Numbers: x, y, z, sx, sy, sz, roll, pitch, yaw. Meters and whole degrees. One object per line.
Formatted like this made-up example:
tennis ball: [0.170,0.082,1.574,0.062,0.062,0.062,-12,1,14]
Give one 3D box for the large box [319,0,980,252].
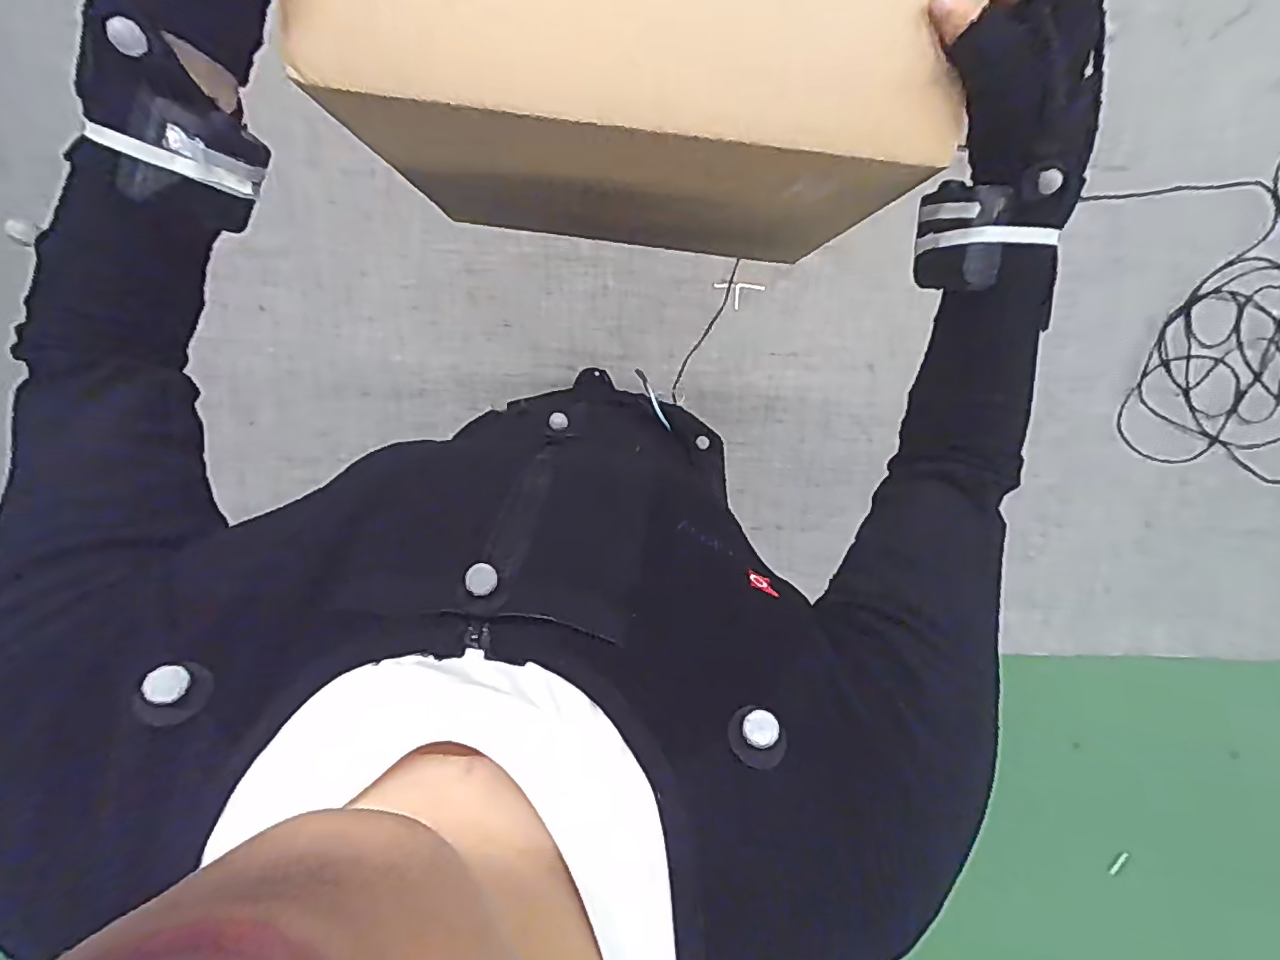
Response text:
large box: [0.011,-0.403,0.454,0.408,0.320,0.320,5,102,-4]
